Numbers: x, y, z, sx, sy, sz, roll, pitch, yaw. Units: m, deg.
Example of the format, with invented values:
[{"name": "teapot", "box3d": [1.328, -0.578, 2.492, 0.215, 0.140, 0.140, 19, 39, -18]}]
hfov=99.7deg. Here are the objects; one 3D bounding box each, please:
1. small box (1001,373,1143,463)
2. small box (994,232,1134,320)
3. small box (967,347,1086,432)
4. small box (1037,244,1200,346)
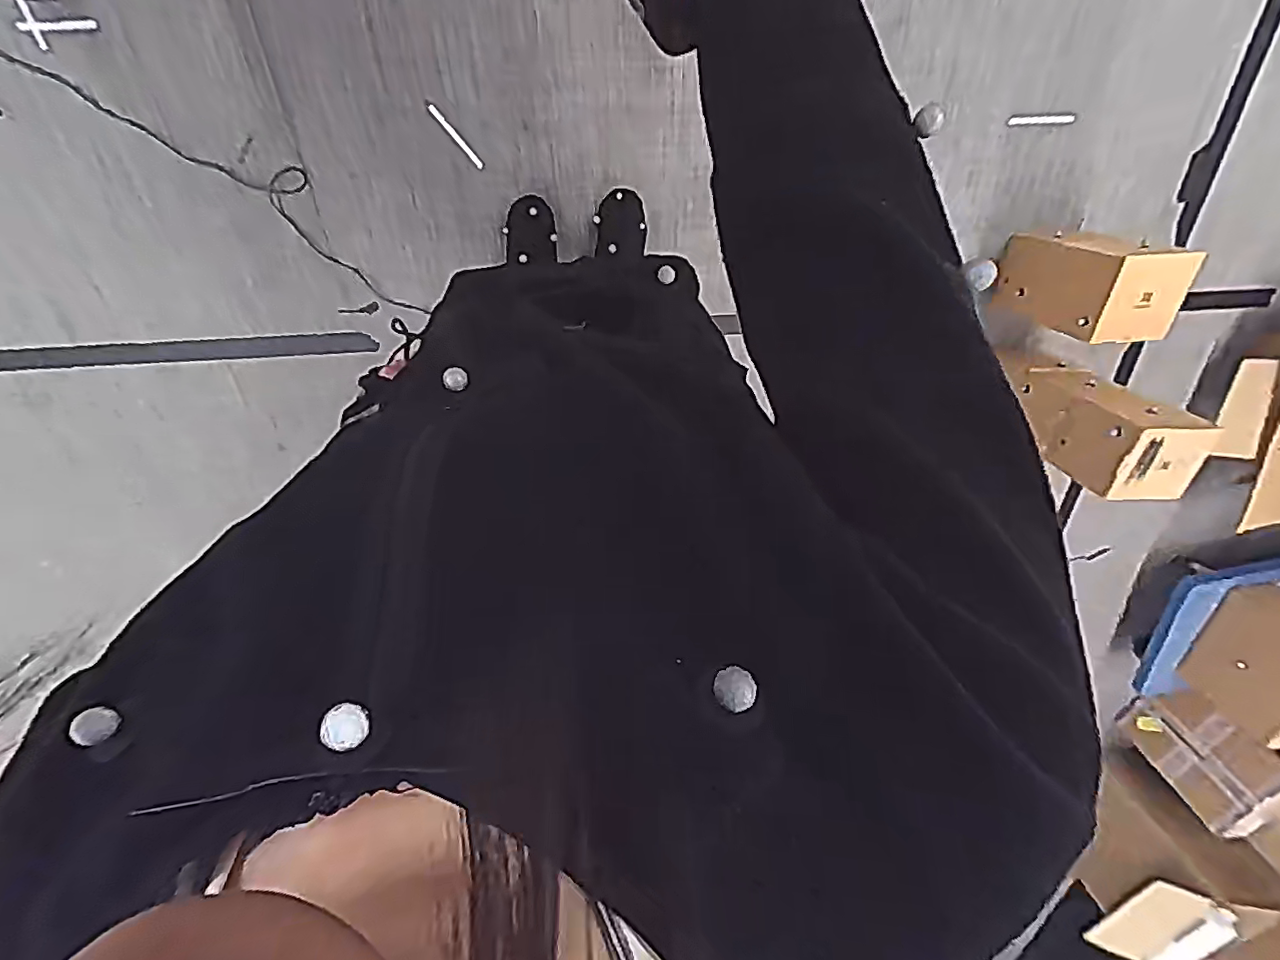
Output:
[{"name": "small box", "box3d": [1.023, -0.151, 1.301, 0.179, 0.176, 0.168, -2, 121, -6]}, {"name": "small box", "box3d": [0.993, -0.487, 1.288, 0.179, 0.176, 0.168, -6, 123, -4]}, {"name": "small box", "box3d": [1.014, -0.239, 1.440, 0.168, 0.176, 0.179, 0, 122, -5]}, {"name": "small box", "box3d": [0.999, -0.400, 1.151, 0.168, 0.176, 0.179, -4, 123, -3]}]
